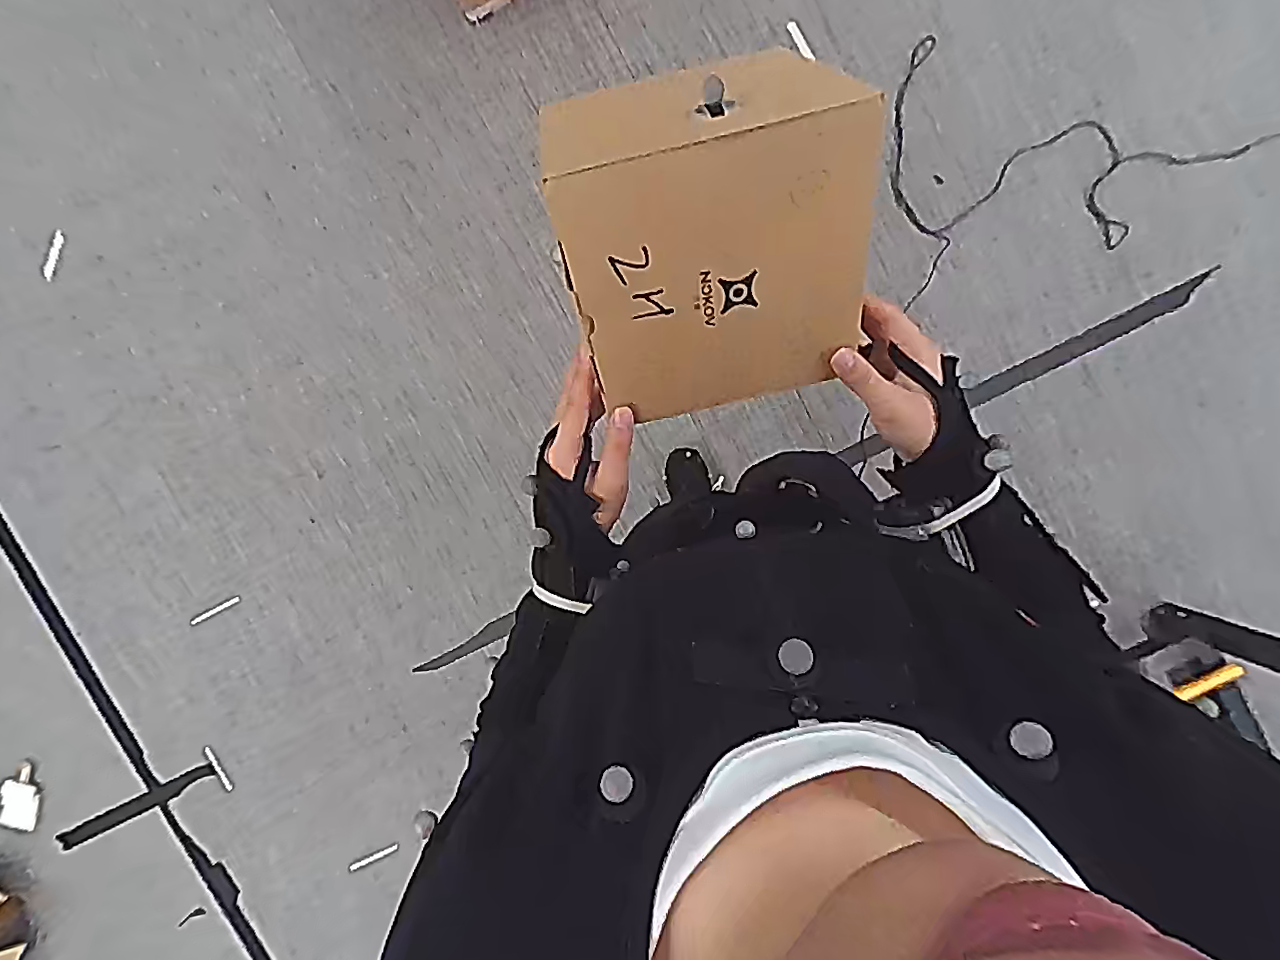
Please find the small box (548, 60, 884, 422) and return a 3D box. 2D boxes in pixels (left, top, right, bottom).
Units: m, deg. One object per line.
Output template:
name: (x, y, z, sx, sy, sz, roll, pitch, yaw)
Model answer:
small box: (0.040, -0.171, 0.383, 0.179, 0.176, 0.168, -12, 135, 2)
